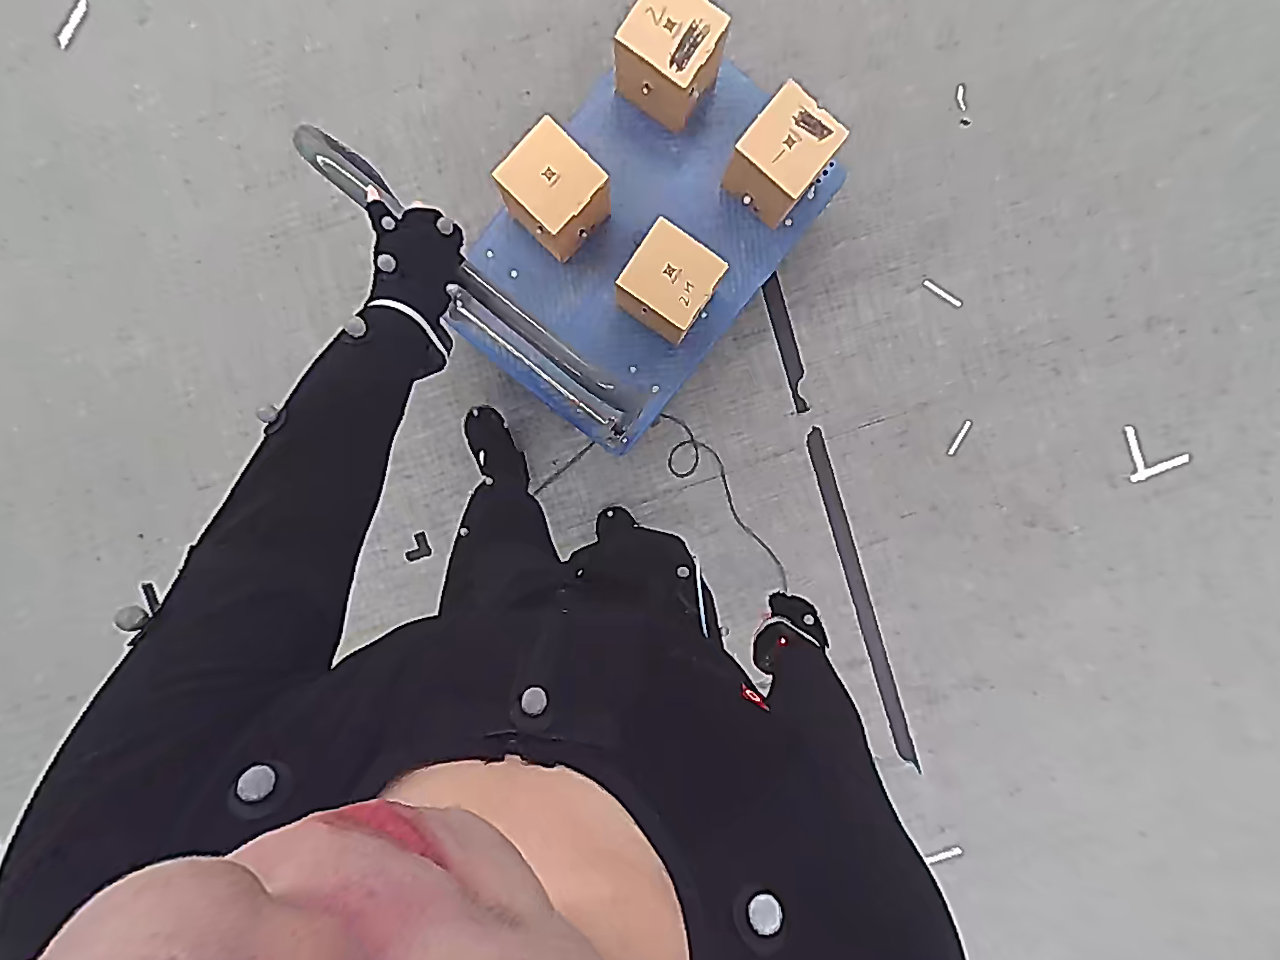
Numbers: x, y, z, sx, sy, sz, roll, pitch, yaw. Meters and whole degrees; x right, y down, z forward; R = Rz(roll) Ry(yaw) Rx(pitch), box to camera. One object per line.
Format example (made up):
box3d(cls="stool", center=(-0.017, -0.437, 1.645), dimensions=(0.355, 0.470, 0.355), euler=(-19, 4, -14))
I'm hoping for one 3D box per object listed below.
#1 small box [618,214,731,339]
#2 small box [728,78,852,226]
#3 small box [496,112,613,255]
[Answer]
box3d(cls="small box", center=(0.067, -0.429, 1.179), dimensions=(0.179, 0.176, 0.168), euler=(35, 93, -4))
box3d(cls="small box", center=(0.312, -0.695, 1.167), dimensions=(0.168, 0.176, 0.179), euler=(40, 93, -4))
box3d(cls="small box", center=(-0.175, -0.620, 1.158), dimensions=(0.179, 0.176, 0.168), euler=(43, 92, -6))
